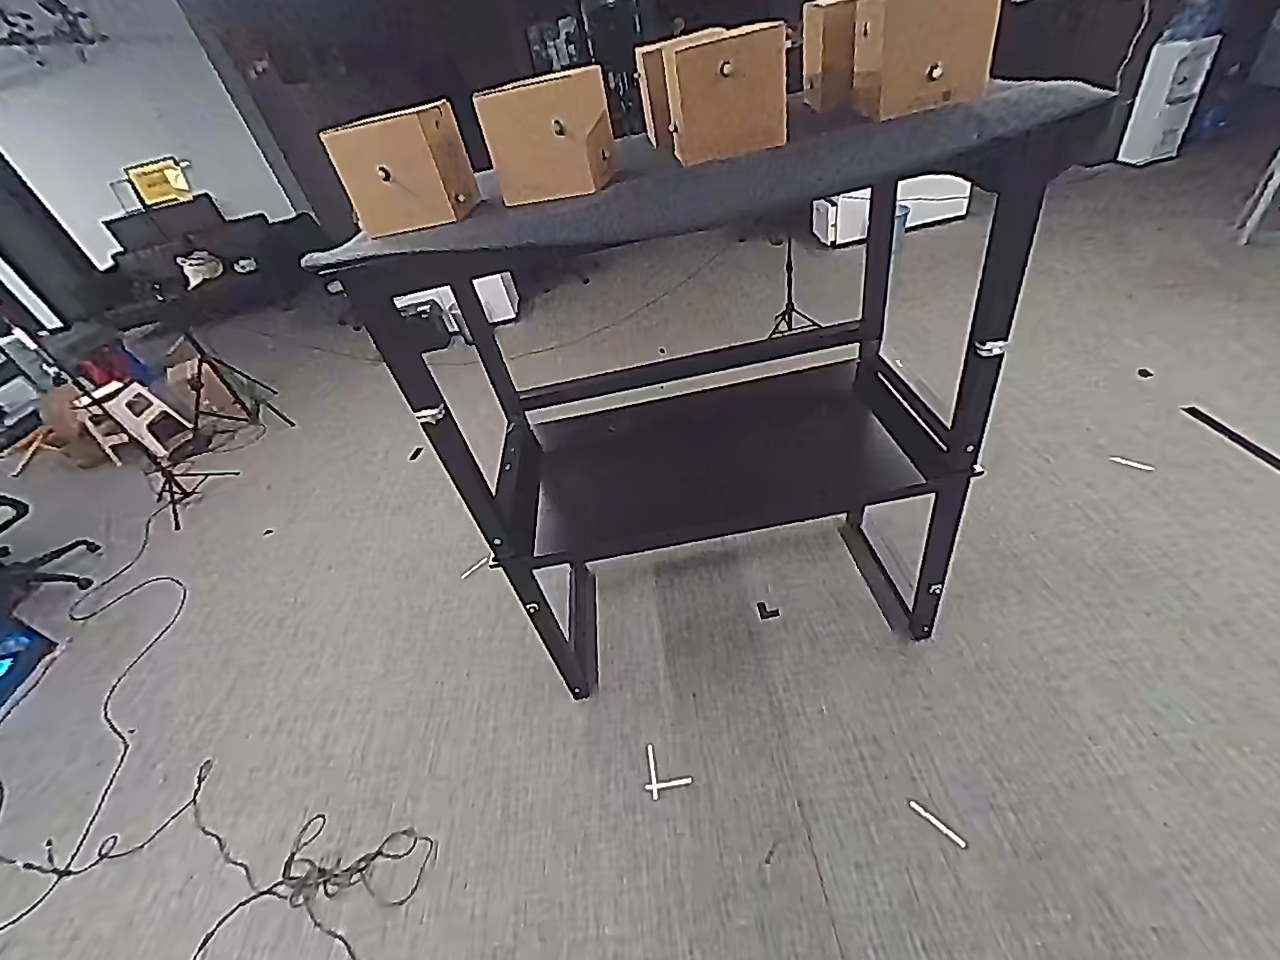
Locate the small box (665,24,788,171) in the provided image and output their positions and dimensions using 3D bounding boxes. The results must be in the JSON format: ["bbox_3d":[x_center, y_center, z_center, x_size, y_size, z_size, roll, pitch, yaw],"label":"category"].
[{"bbox_3d":[0.148,-0.660,0.935,0.179,0.176,0.168,-12,40,4],"label":"small box"}]

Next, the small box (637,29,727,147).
[{"bbox_3d":[0.093,-0.814,1.127,0.168,0.176,0.179,-12,40,4],"label":"small box"}]

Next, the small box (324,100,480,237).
[{"bbox_3d":[-0.414,-0.562,0.979,0.179,0.176,0.168,-7,39,9],"label":"small box"}]

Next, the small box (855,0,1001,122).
[{"bbox_3d":[0.466,-0.719,0.903,0.168,0.176,0.179,-7,40,10],"label":"small box"}]
